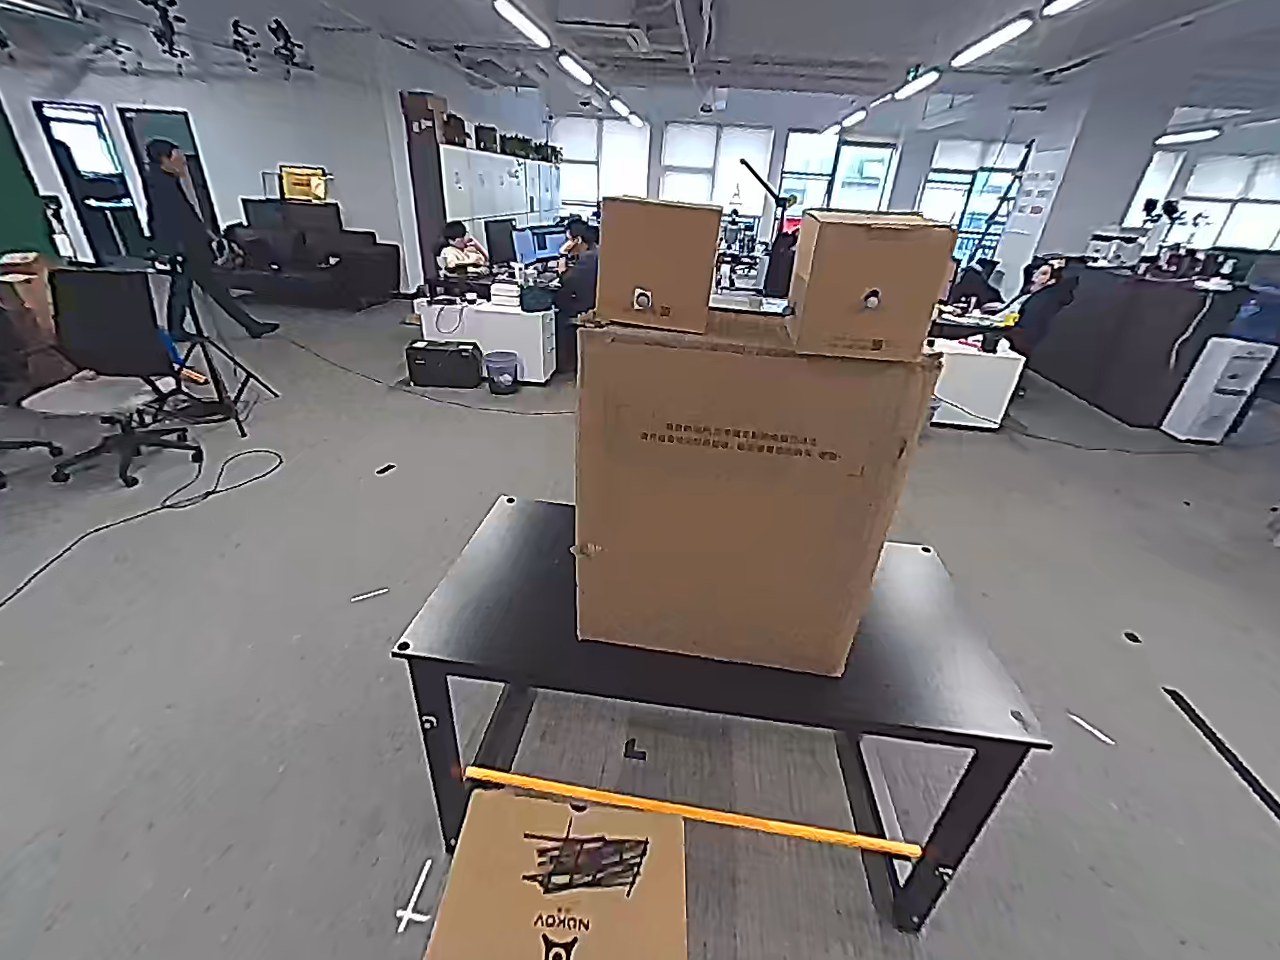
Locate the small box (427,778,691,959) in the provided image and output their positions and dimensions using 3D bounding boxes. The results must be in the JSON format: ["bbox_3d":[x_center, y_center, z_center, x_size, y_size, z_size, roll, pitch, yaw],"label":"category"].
[{"bbox_3d":[-0.061,0.355,0.393,0.168,0.176,0.179,8,34,-3],"label":"small box"}]

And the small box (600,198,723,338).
[{"bbox_3d":[0.033,-0.330,0.831,0.168,0.176,0.179,8,30,4],"label":"small box"}]

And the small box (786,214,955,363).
[{"bbox_3d":[0.307,-0.273,0.762,0.168,0.176,0.179,6,31,6],"label":"small box"}]
